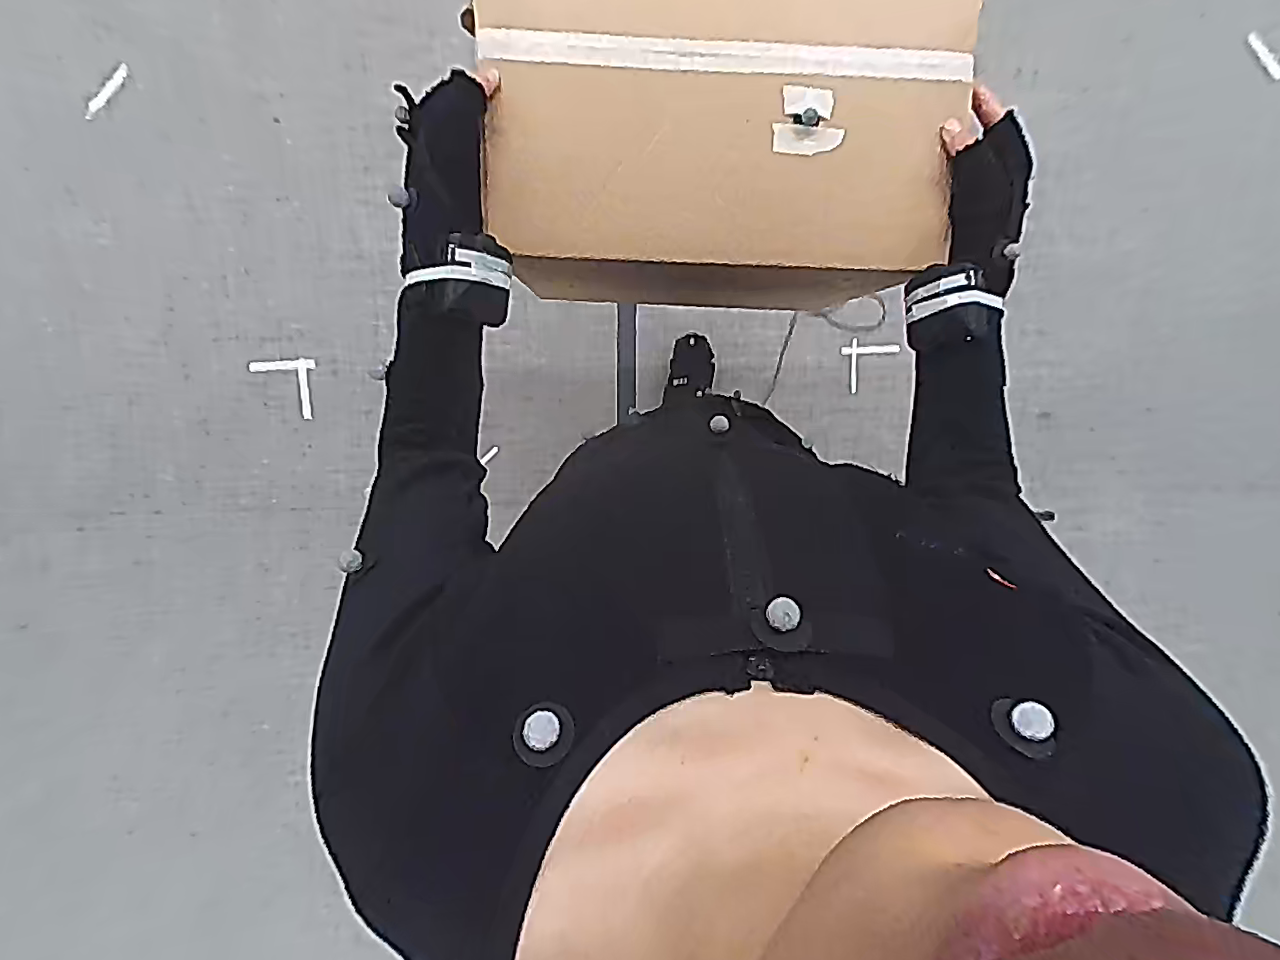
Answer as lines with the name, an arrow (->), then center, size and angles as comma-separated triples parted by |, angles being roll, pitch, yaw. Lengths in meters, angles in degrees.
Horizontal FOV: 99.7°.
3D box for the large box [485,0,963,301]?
large box -> 0.063, -0.381, 0.602 | 0.408, 0.320, 0.320 | 1, 102, -3
